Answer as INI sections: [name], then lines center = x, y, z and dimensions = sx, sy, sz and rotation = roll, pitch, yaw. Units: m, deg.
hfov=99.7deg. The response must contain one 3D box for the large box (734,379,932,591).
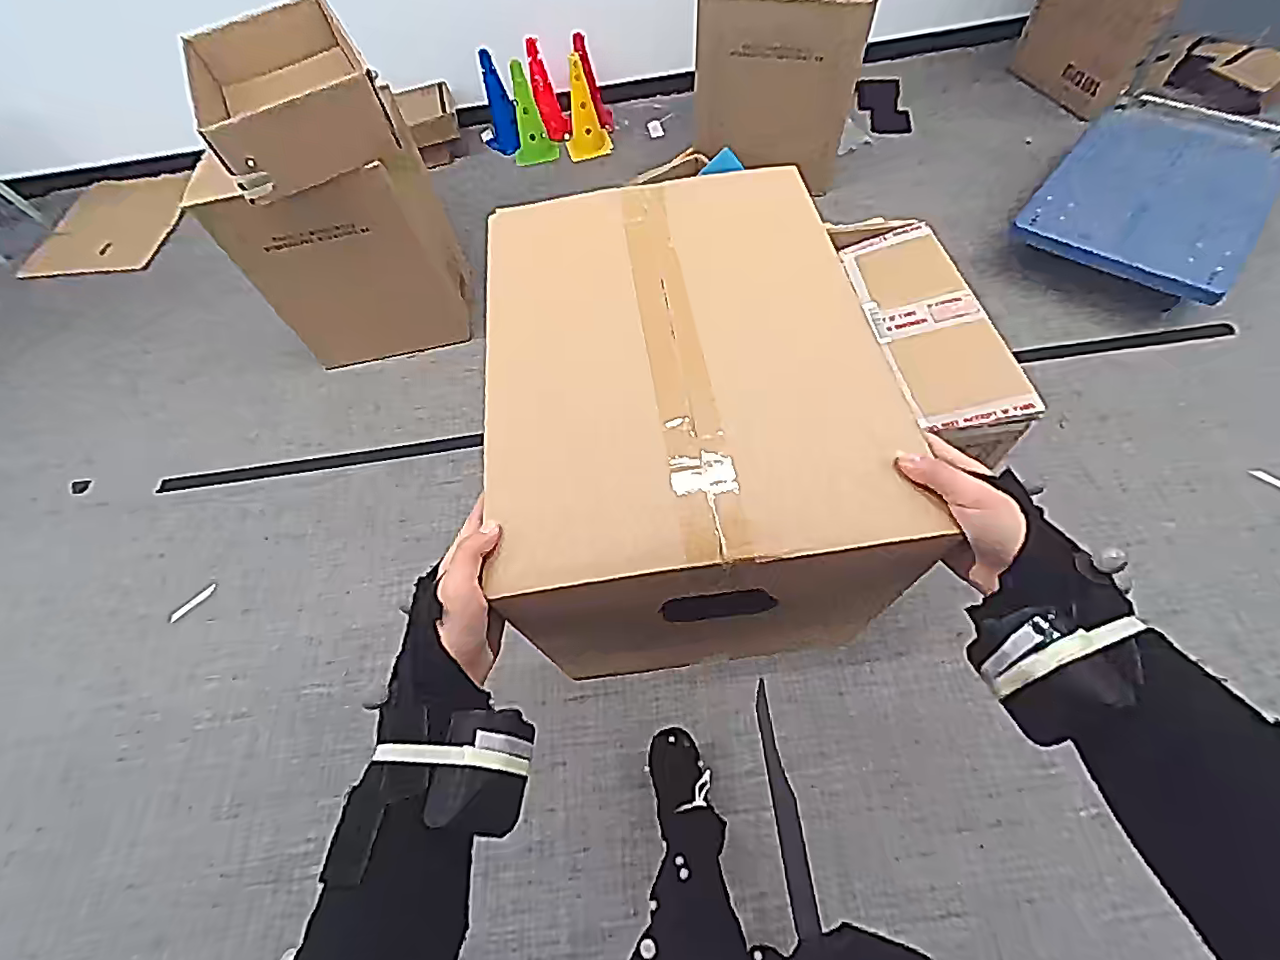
[large box]
center = 0.433, 0.018, 1.331
dimensions = 0.320, 0.320, 0.408
rotation = -9, 60, 1
